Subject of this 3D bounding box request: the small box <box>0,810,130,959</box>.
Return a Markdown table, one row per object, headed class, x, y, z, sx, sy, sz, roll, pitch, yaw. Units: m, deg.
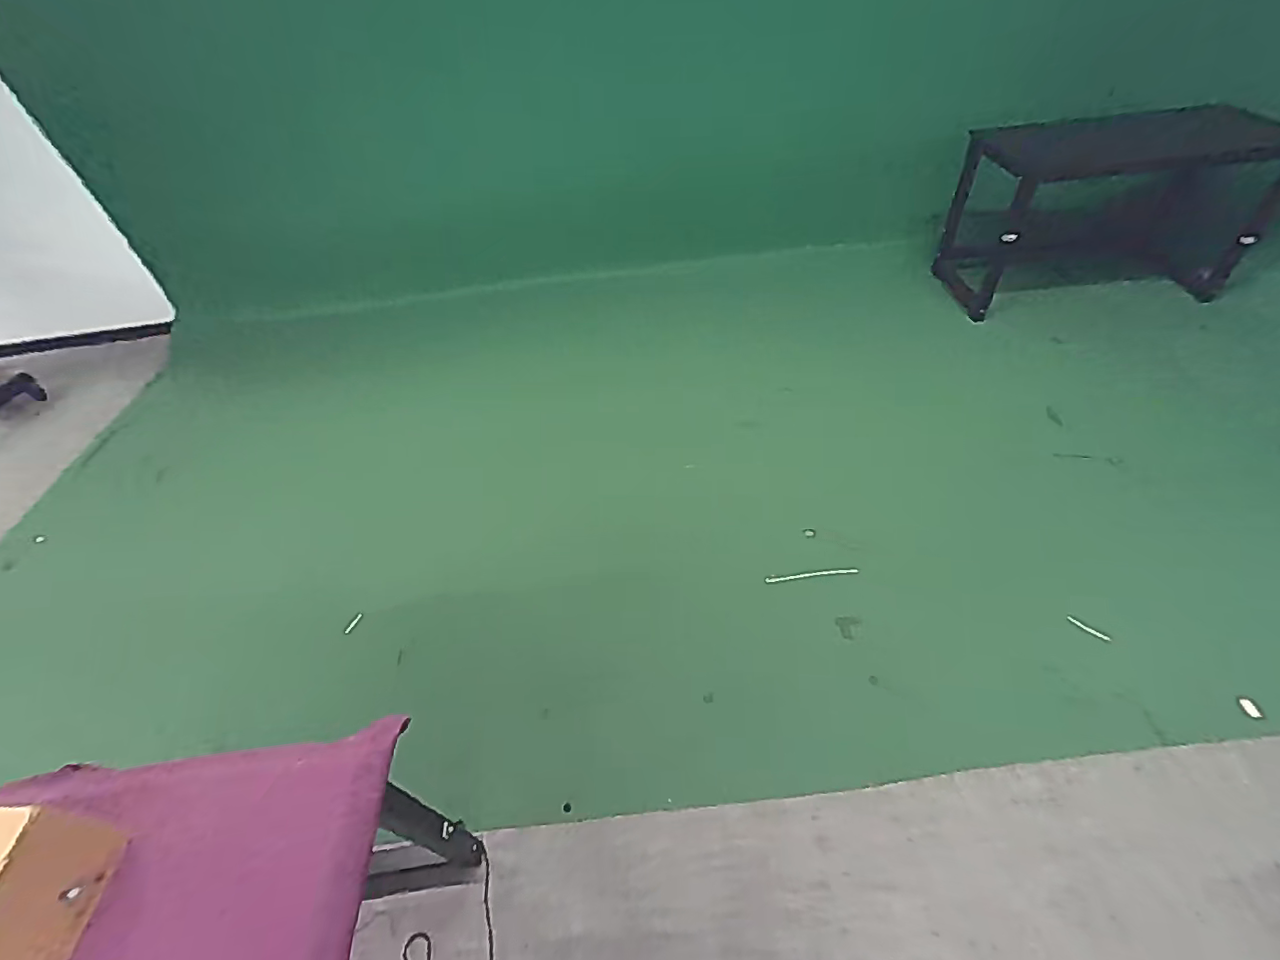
| class | x | y | z | sx | sy | sz | roll | pitch | yaw |
| --- | --- | --- | --- | --- | --- | --- | --- | --- | --- |
| small box | -0.867 | 0.556 | 0.722 | 0.179 | 0.176 | 0.168 | -4 | 47 | 3 |
